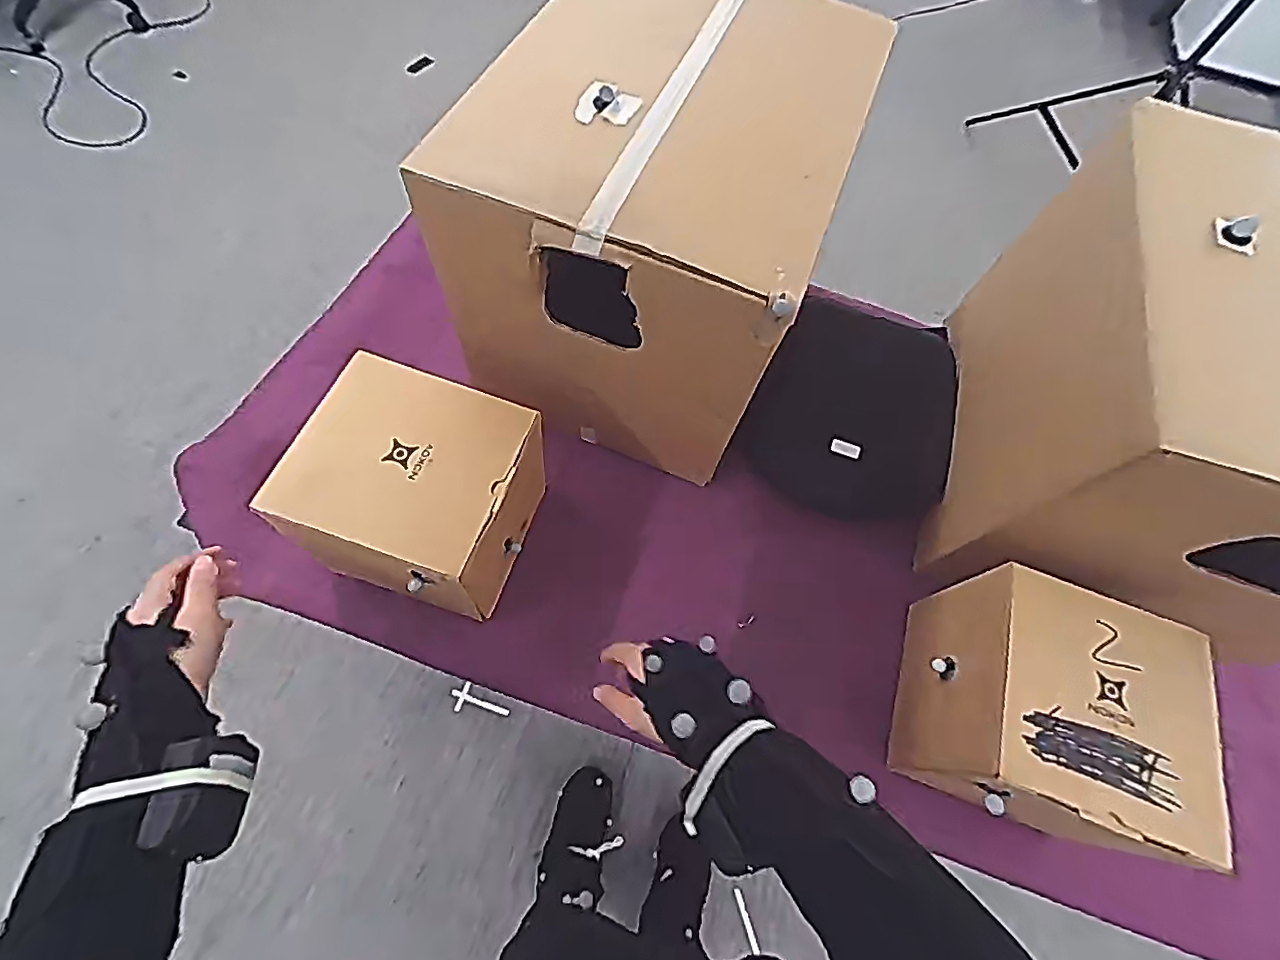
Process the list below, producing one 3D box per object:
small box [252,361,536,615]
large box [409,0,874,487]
[{"bbox_3d":[-0.213,0.019,0.530,0.179,0.176,0.168,18,63,-1],"label":"small box"},{"bbox_3d":[0.018,-0.266,0.615,0.320,0.320,0.408,21,67,5],"label":"large box"}]
